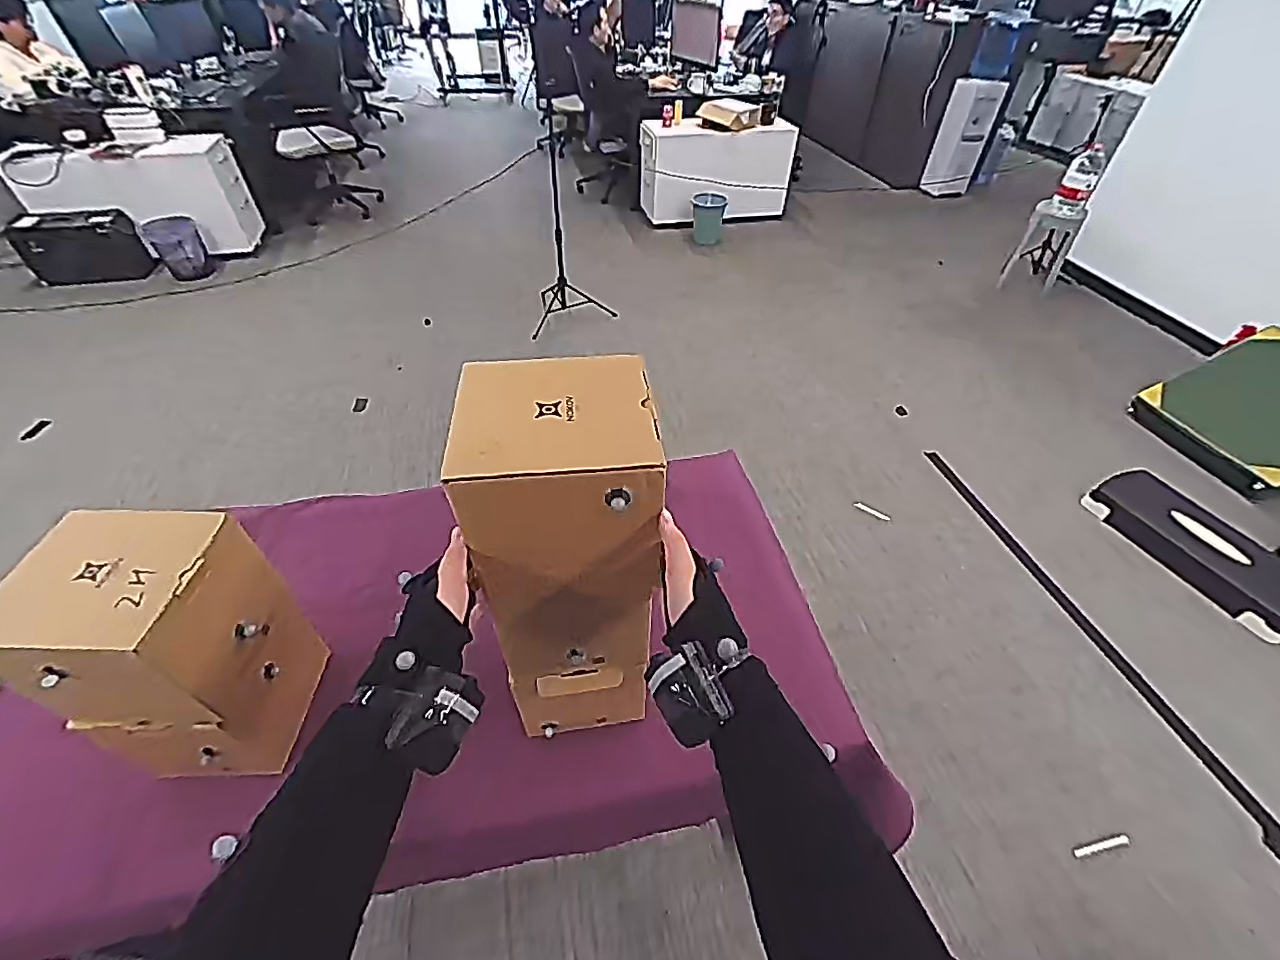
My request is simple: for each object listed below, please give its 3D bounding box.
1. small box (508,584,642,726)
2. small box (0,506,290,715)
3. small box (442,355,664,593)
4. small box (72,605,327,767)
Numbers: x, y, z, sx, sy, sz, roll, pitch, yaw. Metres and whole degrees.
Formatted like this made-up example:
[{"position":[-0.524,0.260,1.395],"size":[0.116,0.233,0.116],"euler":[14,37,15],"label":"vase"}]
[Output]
[{"position":[-0.088,0.227,0.760],"size":[0.168,0.176,0.179],"euler":[-5,45,-7],"label":"small box"},{"position":[-0.539,0.146,0.597],"size":[0.179,0.176,0.168],"euler":[2,46,-1],"label":"small box"},{"position":[-0.075,-0.004,0.529],"size":[0.179,0.176,0.168],"euler":[-4,44,-6],"label":"small box"},{"position":[-0.549,0.263,0.712],"size":[0.168,0.176,0.179],"euler":[1,45,-2],"label":"small box"}]
